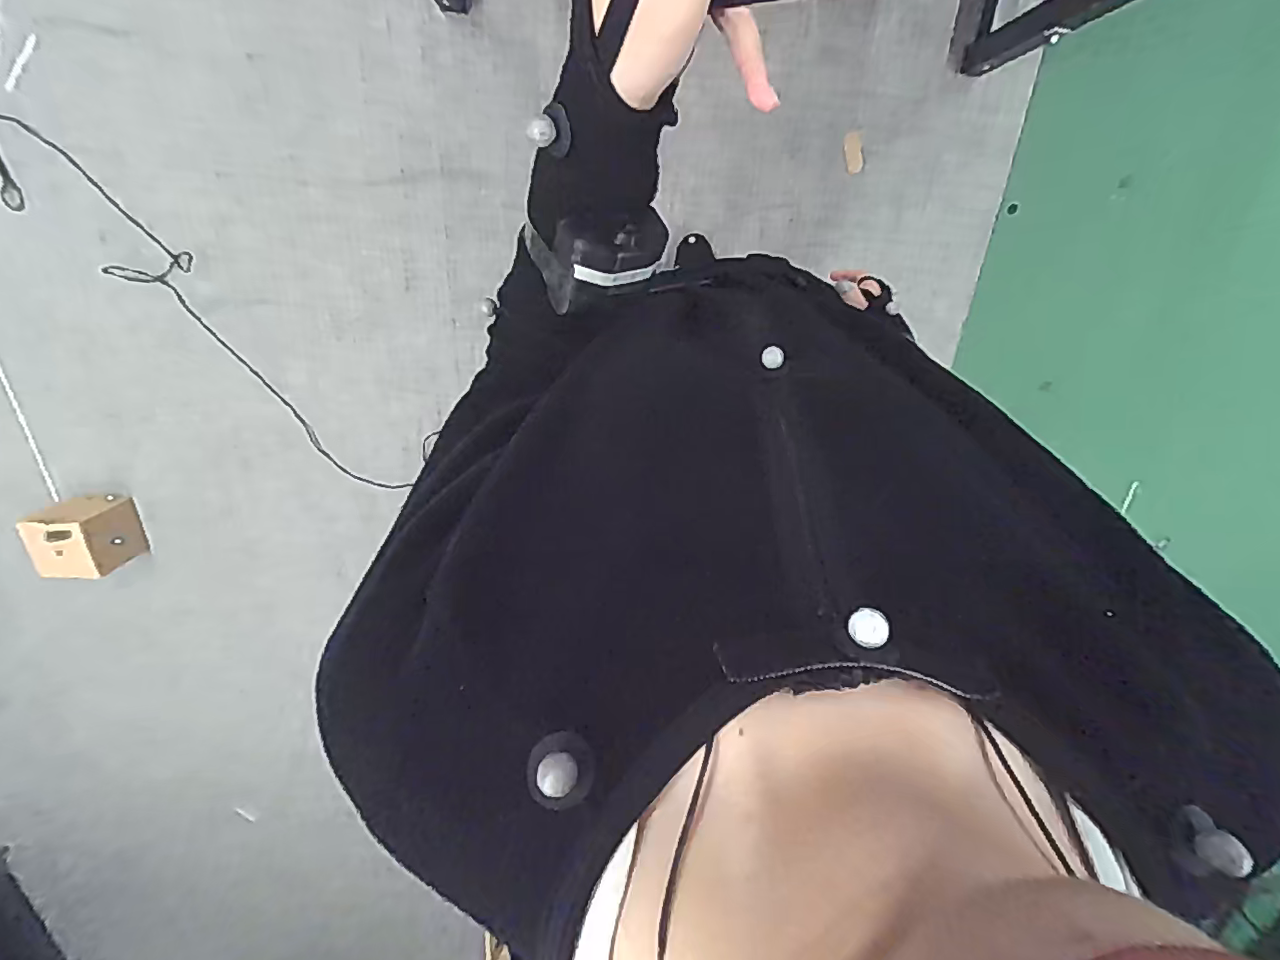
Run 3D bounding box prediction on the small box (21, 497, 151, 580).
[{"bbox_3d":[-1.541,0.159,1.518,0.168,0.176,0.179,3,114,-1],"label":"small box"}]
